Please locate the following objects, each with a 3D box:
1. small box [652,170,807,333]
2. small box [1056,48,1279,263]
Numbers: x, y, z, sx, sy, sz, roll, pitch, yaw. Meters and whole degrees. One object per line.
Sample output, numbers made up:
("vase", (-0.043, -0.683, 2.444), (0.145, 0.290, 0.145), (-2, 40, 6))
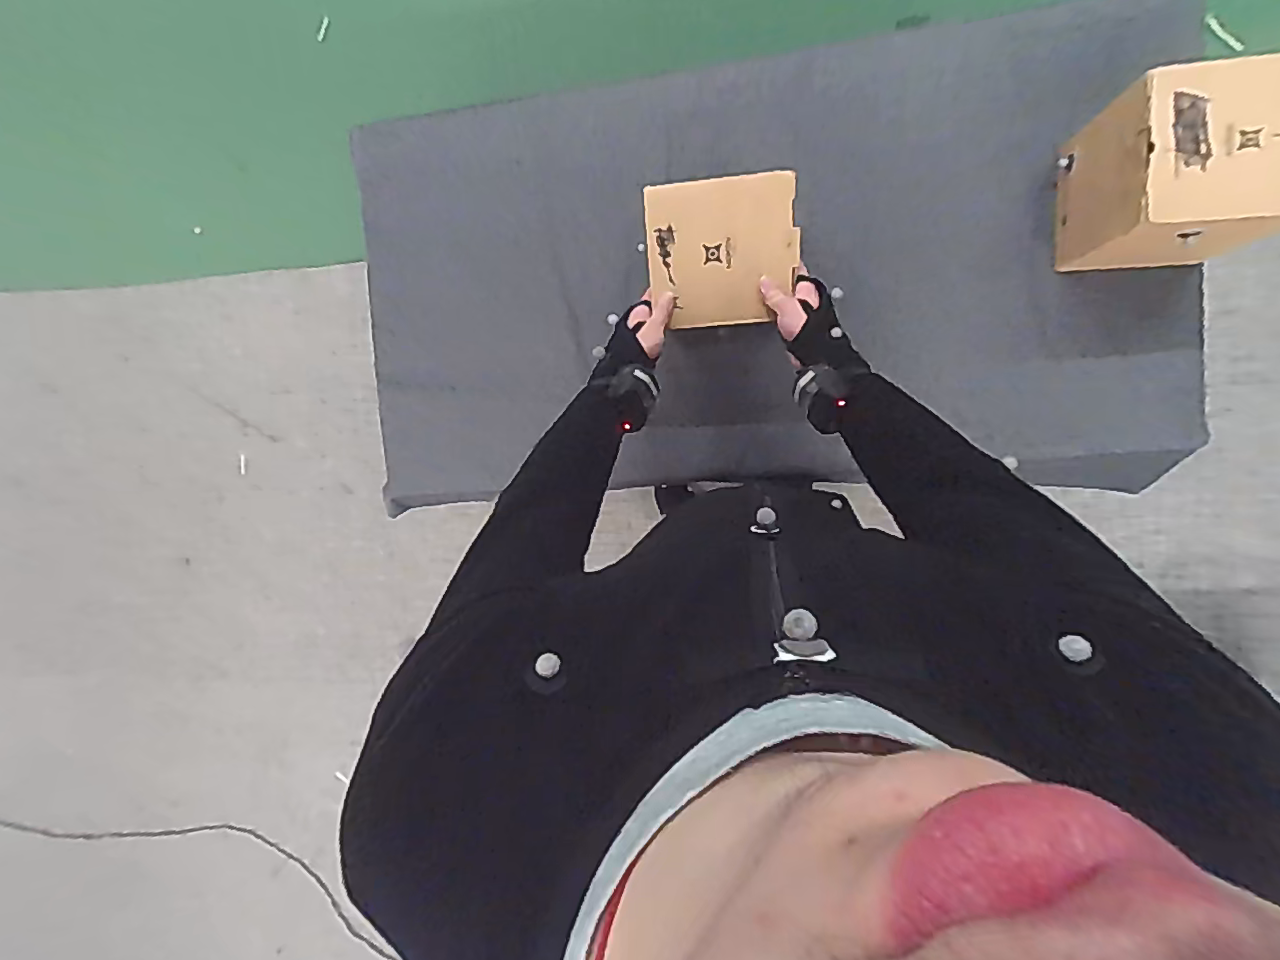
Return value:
("small box", (0.110, -0.285, 0.702), (0.179, 0.176, 0.168), (-4, 106, 6))
("small box", (0.644, -0.373, 0.652), (0.179, 0.176, 0.168), (-2, 94, 6))
